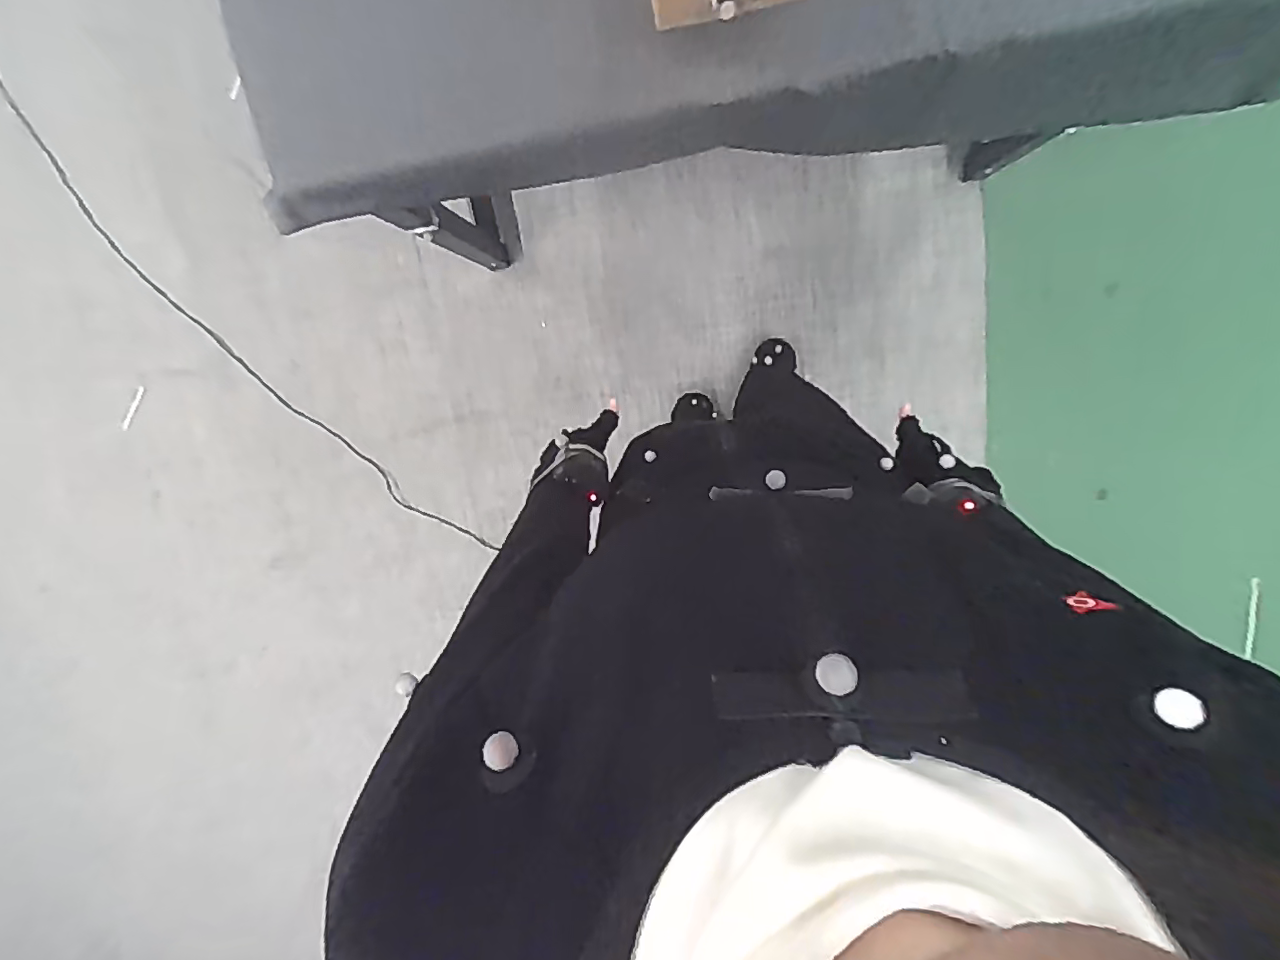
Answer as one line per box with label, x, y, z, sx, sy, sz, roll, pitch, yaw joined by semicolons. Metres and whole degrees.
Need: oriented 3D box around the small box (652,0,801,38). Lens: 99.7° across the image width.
small box;0.077;-0.559;0.487;0.168;0.176;0.179;-10;102;7
